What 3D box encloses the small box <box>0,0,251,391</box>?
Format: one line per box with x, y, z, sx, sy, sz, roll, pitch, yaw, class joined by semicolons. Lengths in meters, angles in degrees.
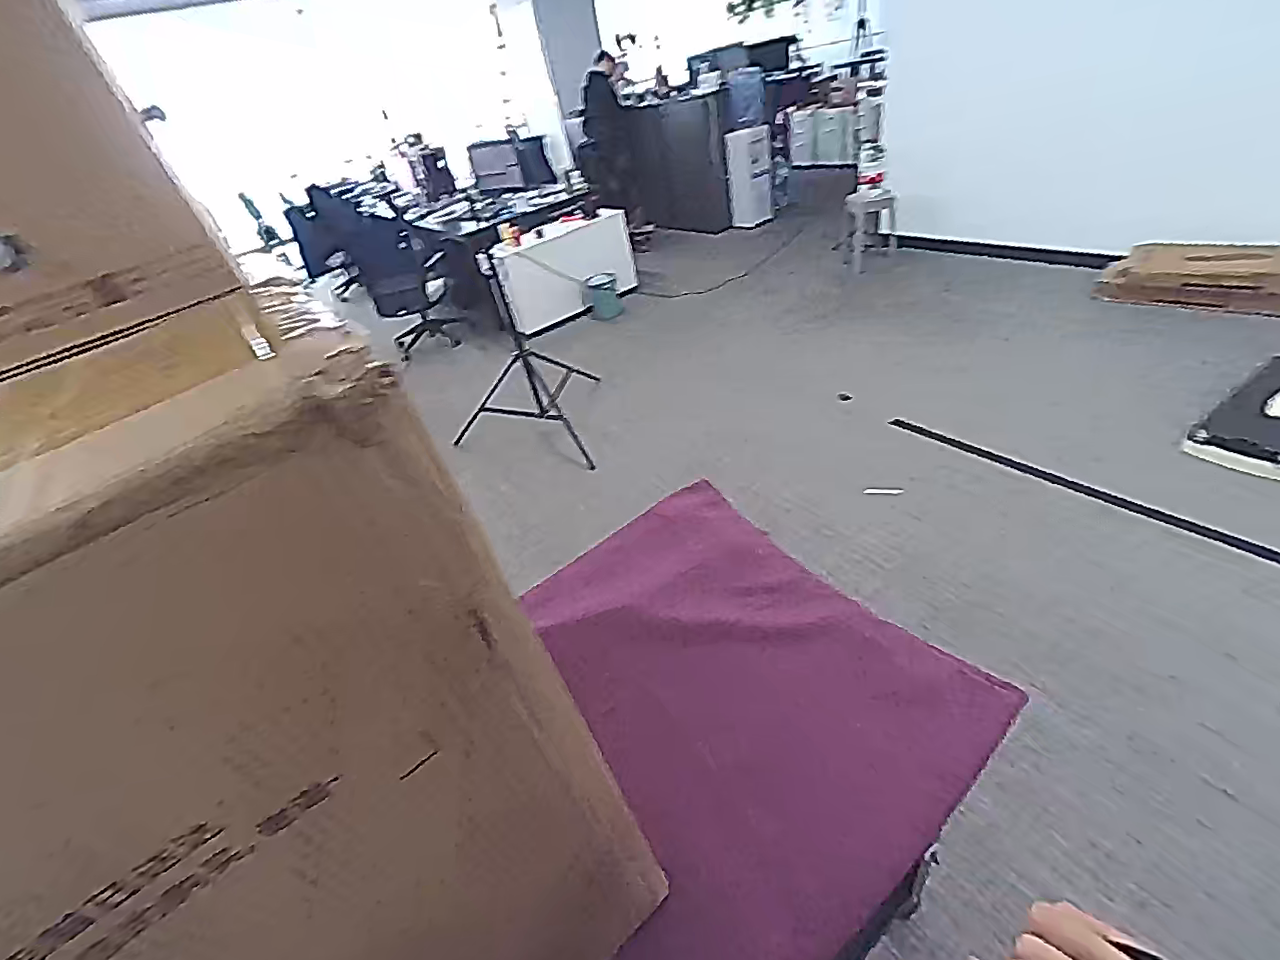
-0.368;-0.166;0.319;0.168;0.176;0.179;-32;40;-21;small box
